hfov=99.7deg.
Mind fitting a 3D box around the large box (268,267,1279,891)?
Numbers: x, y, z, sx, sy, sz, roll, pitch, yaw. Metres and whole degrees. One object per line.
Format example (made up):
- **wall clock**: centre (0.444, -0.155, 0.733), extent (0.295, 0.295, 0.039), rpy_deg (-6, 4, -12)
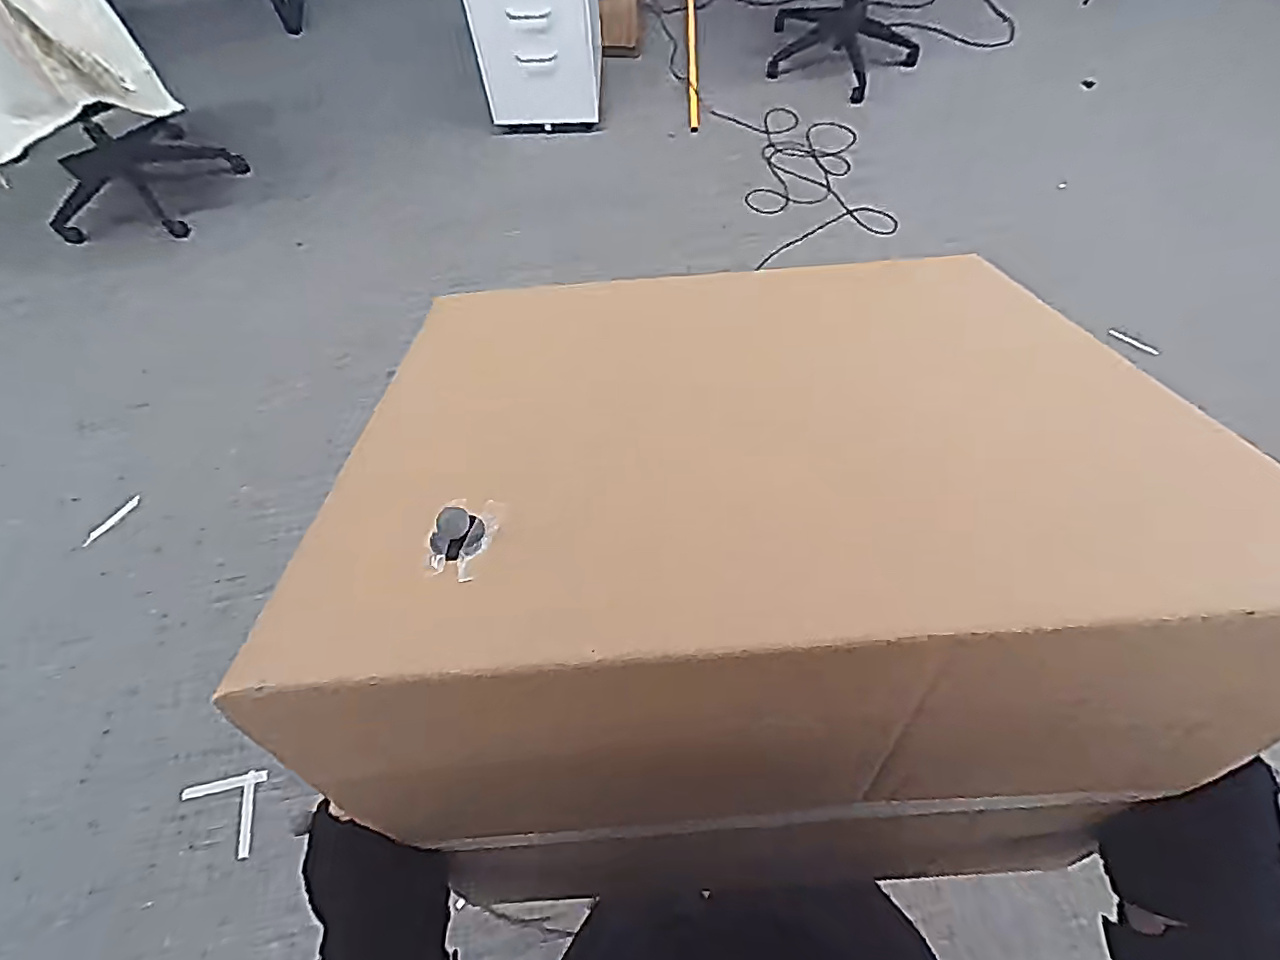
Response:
- **large box**: centre (0.066, 0.064, 0.396), extent (0.408, 0.320, 0.320), rpy_deg (-5, 42, 1)
